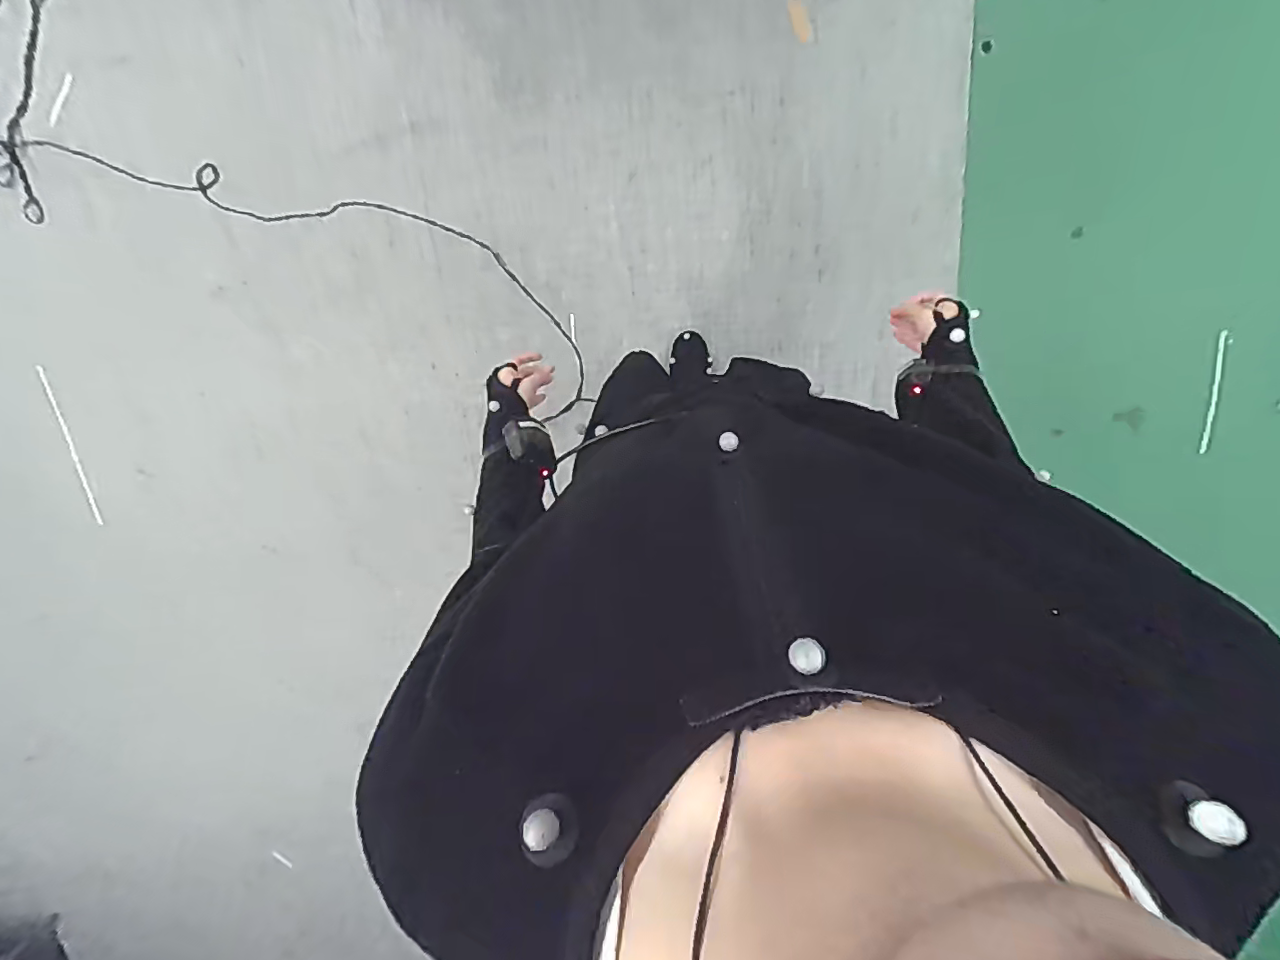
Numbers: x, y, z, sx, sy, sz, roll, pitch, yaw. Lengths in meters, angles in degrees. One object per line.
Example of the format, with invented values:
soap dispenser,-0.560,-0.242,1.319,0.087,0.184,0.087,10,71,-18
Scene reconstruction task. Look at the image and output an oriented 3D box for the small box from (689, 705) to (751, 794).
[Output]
small box,0.234,0.797,1.612,0.168,0.176,0.179,1,104,3
